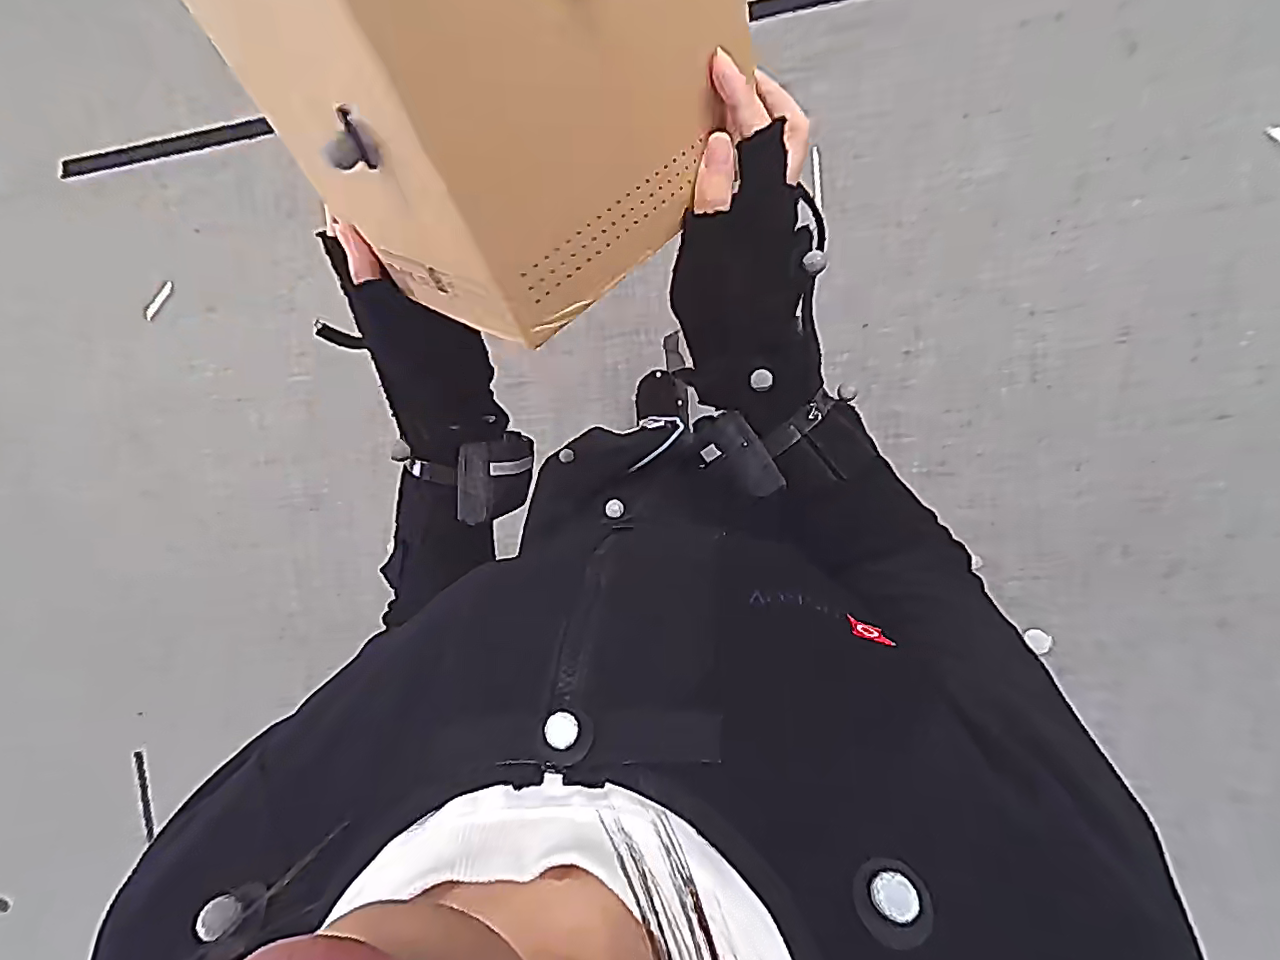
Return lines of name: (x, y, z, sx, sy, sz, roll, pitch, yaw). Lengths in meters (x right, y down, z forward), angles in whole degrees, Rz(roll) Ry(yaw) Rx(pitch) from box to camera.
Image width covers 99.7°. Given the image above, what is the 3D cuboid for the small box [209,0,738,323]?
small box: (-0.067, -0.206, 0.273, 0.168, 0.176, 0.179, 29, 65, 35)
